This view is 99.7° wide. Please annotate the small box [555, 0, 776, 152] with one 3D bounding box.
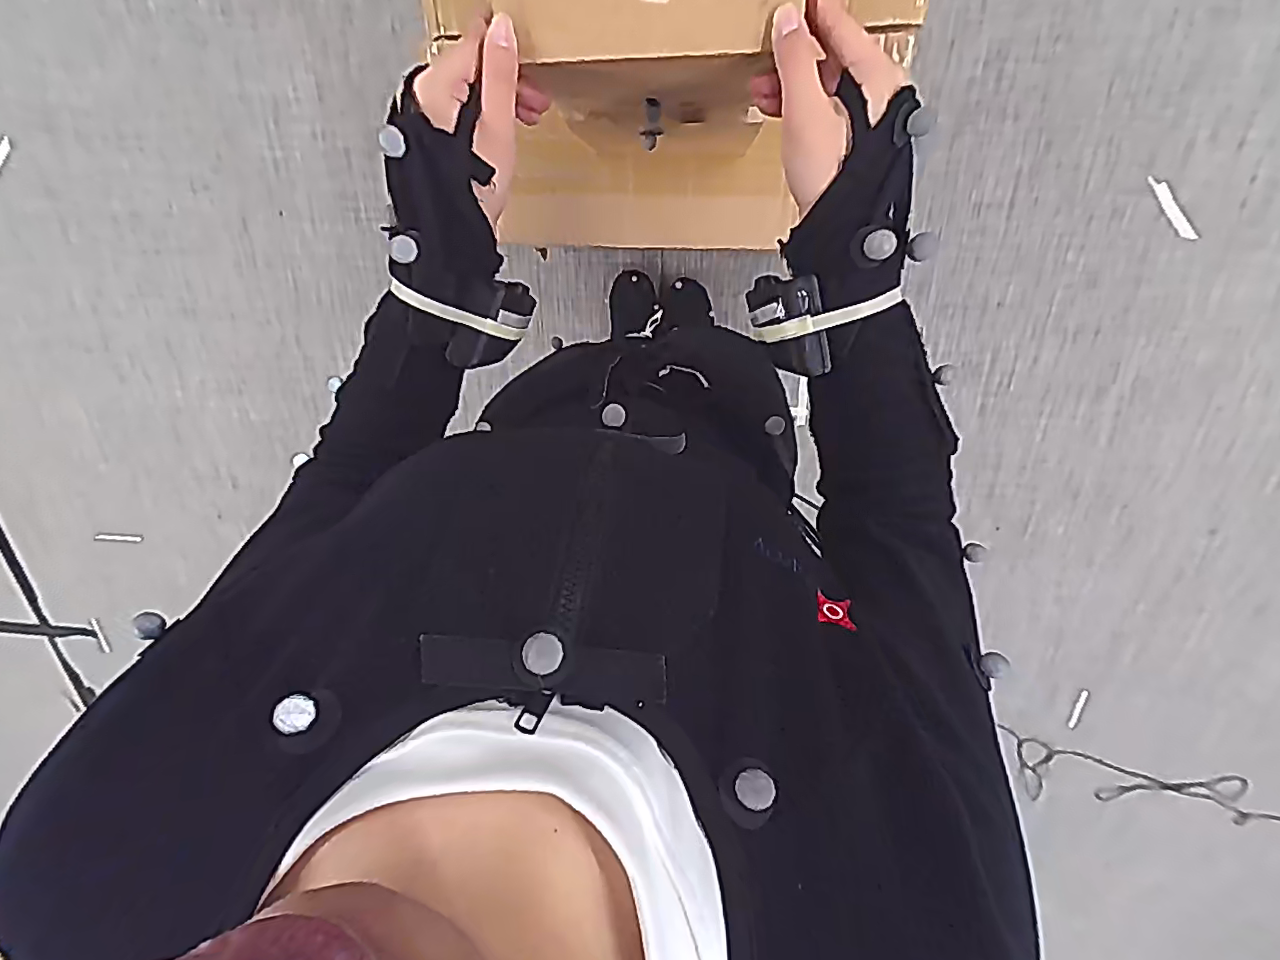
[{"bbox_3d":[0.026,-0.407,0.494,0.179,0.176,0.168,3,113,4],"label":"small box"}]
